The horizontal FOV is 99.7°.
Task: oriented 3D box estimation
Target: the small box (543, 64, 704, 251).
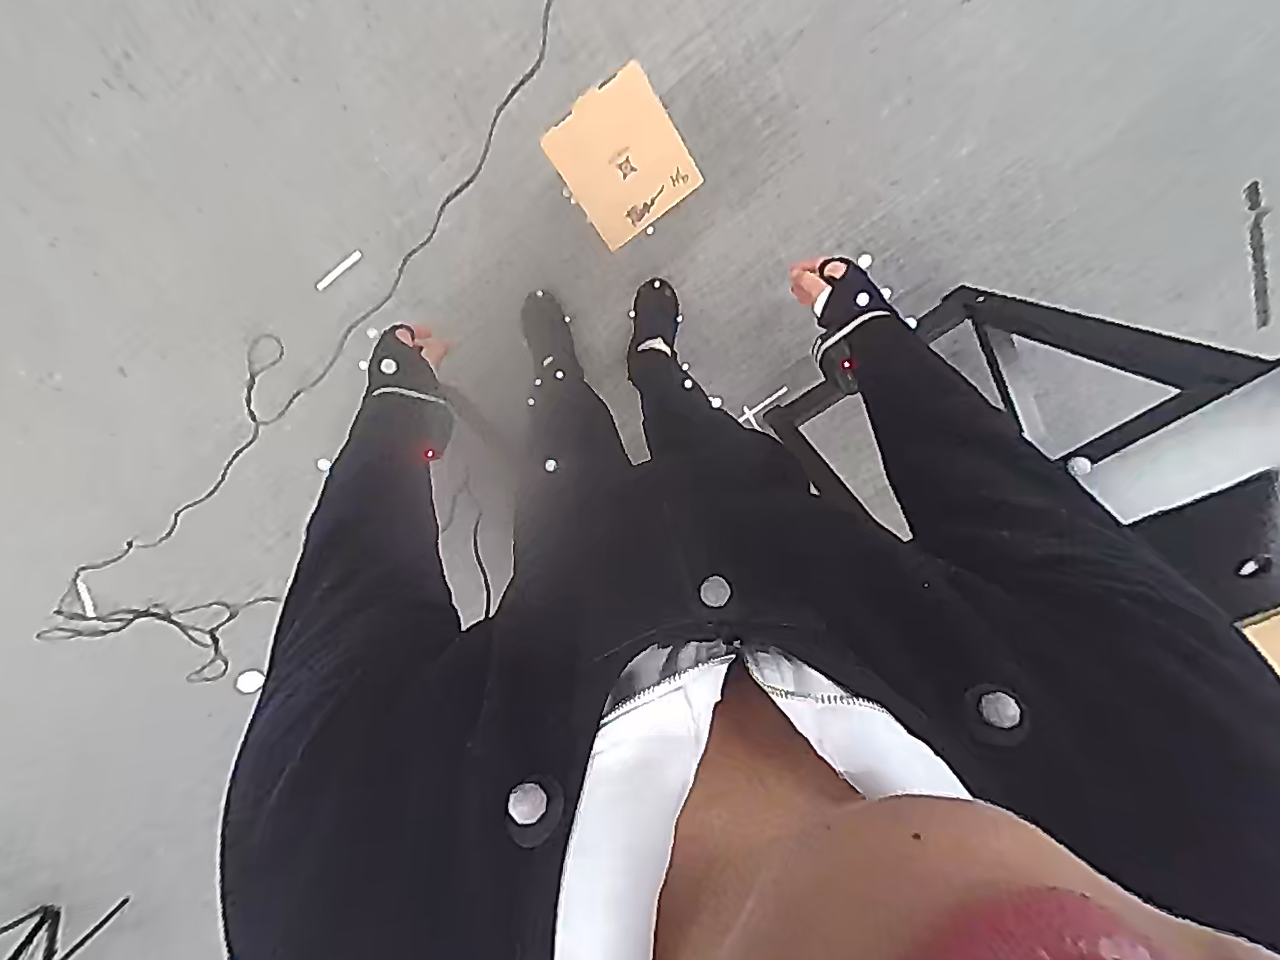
[{"bbox_3d":[-0.026,-0.477,0.829,0.168,0.176,0.179,-33,114,12],"label":"small box"}]
